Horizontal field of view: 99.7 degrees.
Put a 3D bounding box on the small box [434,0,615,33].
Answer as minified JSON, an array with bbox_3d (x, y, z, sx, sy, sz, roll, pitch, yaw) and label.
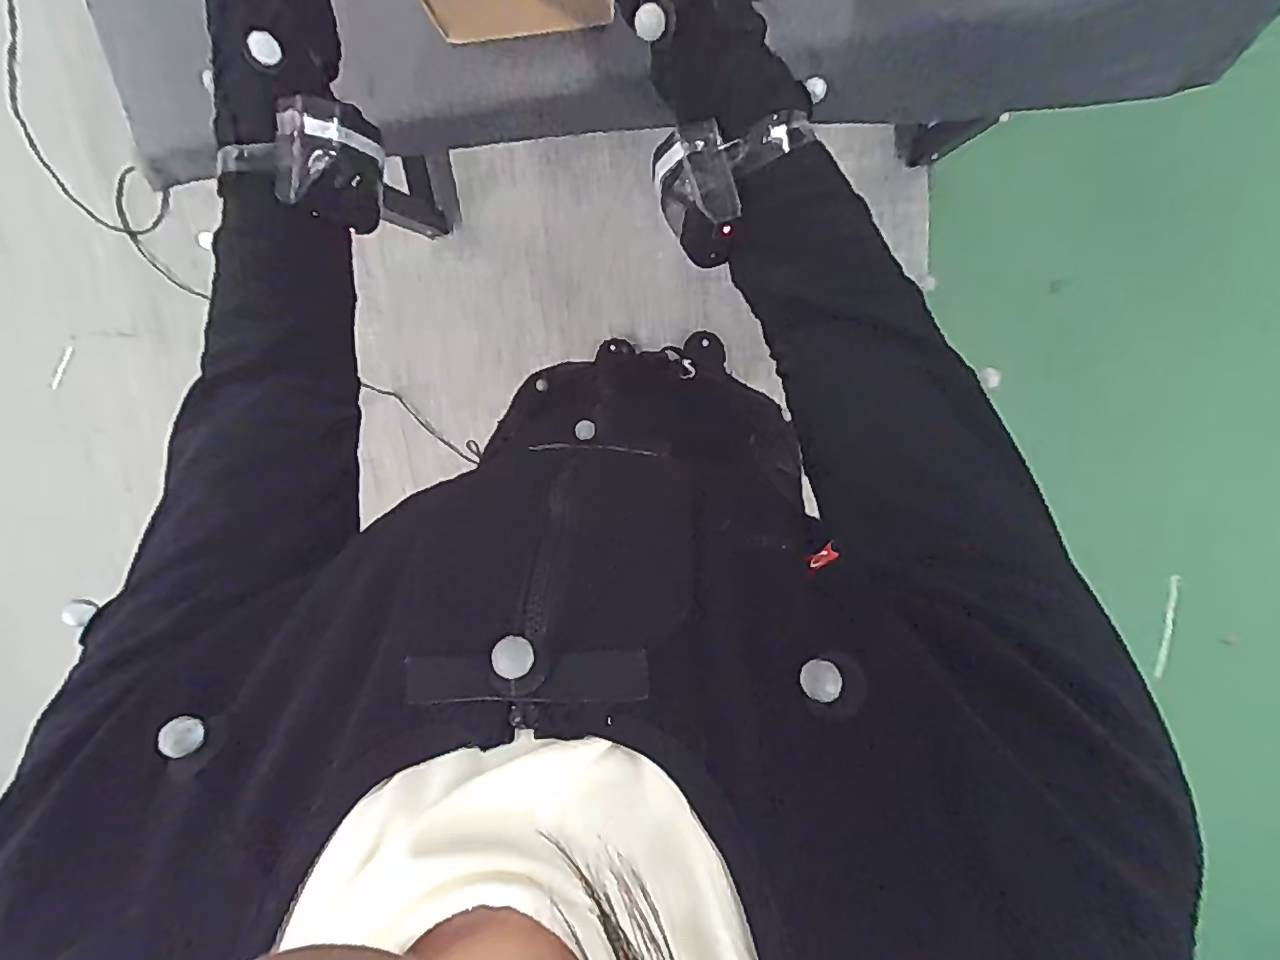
[{"bbox_3d":[-0.122,-0.529,0.468,0.179,0.176,0.168,-4,104,4],"label":"small box"}]
